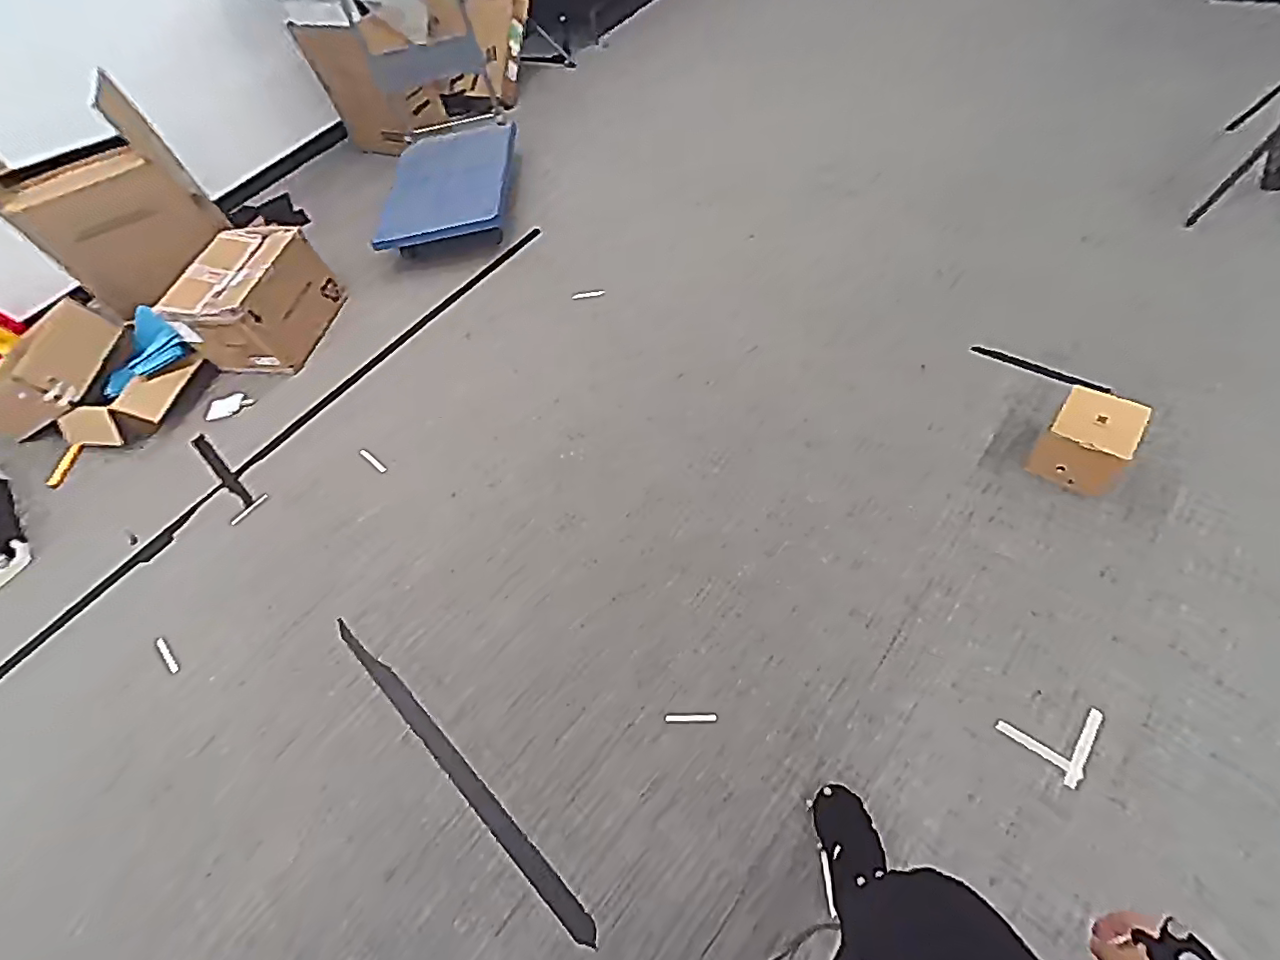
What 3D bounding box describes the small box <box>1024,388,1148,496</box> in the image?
[{"bbox_3d":[1.107,-0.093,1.356,0.168,0.176,0.179,30,69,26],"label":"small box"}]
